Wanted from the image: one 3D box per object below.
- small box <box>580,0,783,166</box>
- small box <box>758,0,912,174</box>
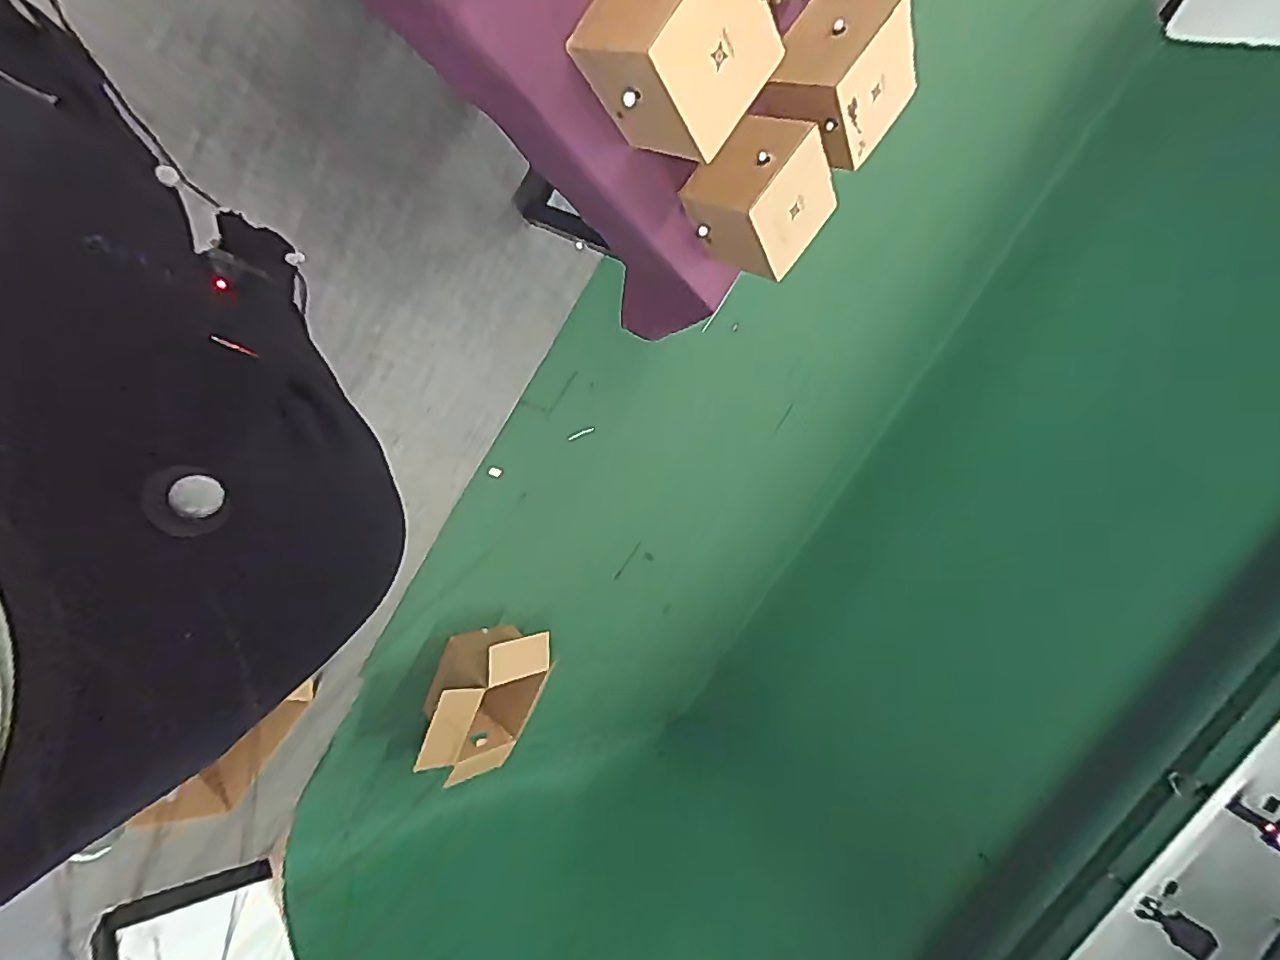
[{"bbox_3d":[0.047,-0.552,0.701,0.179,0.176,0.168,-54,144,4],"label":"small box"},{"bbox_3d":[0.328,-0.664,0.914,0.179,0.176,0.168,-54,144,2],"label":"small box"}]
